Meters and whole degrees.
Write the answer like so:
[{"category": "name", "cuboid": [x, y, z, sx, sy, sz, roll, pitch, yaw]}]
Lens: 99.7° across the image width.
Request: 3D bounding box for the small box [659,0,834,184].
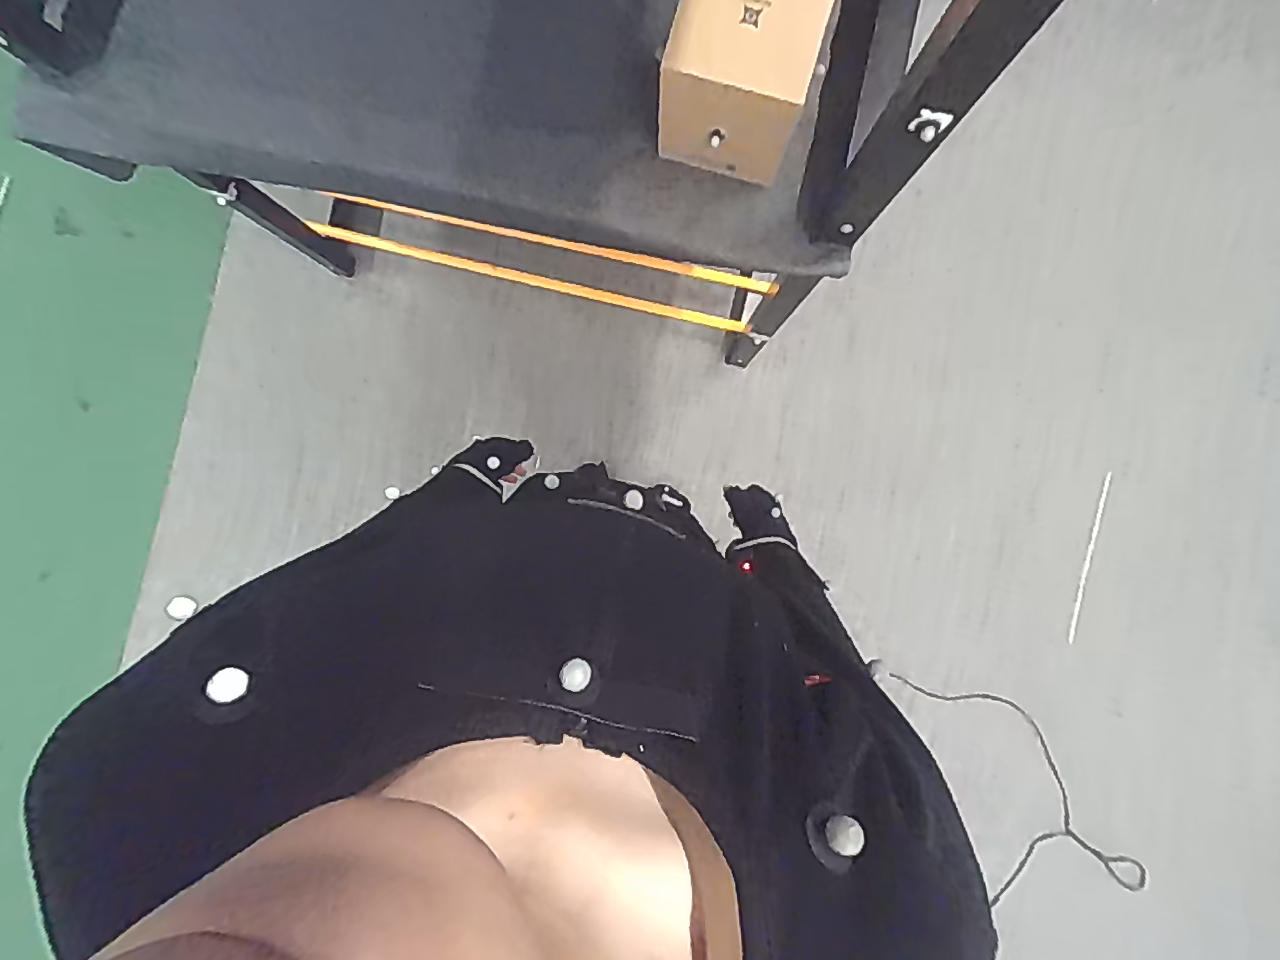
[{"category": "small box", "cuboid": [0.126, -0.512, 0.678, 0.168, 0.176, 0.179, 17, 89, 1]}]
